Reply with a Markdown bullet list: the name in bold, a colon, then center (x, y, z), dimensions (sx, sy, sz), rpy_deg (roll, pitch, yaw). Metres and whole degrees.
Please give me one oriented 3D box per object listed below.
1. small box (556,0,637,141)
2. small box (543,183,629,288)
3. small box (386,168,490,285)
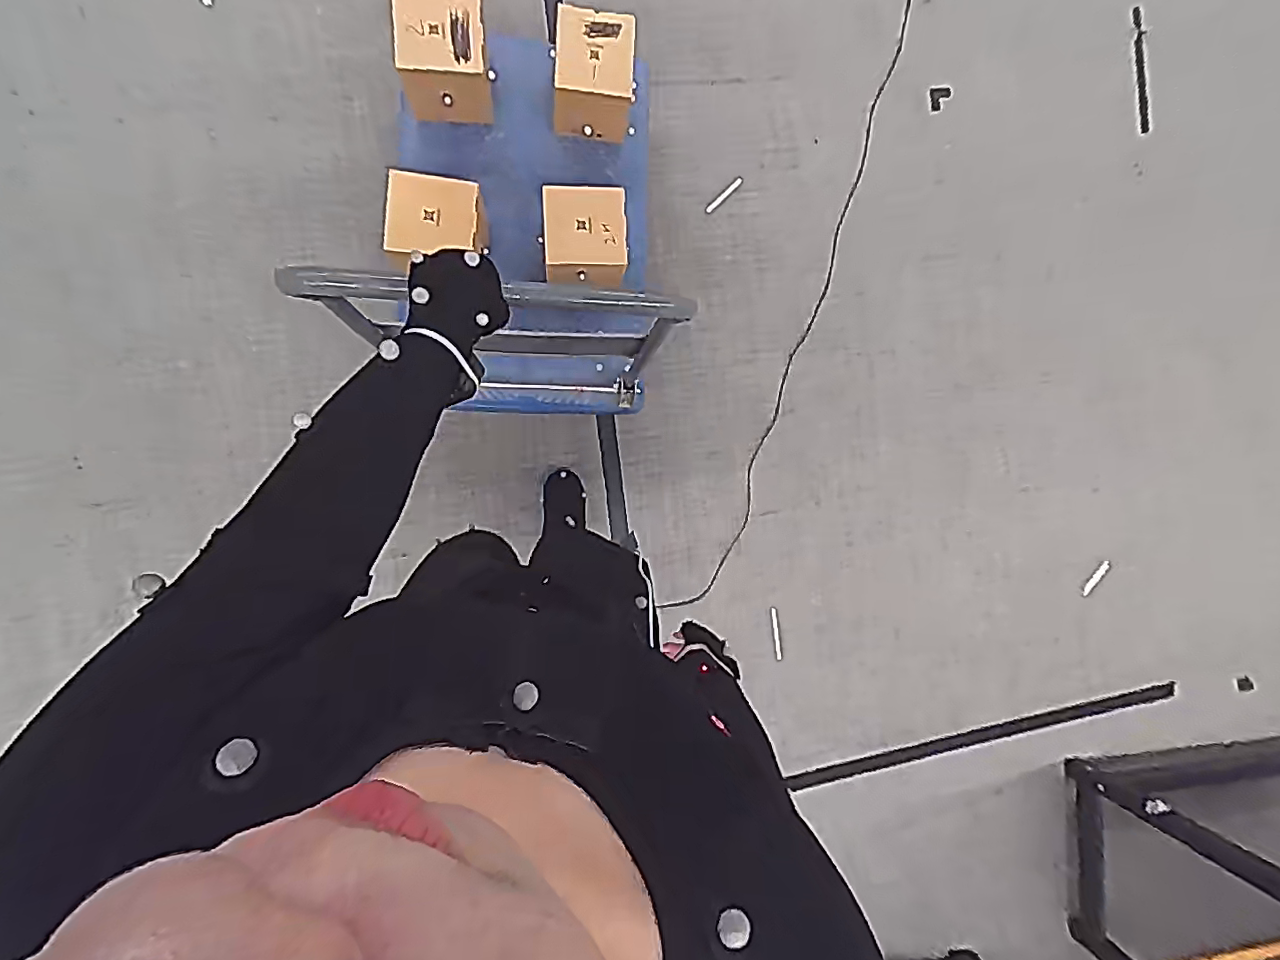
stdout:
- **small box**: center (-0.102, -0.906, 1.211), dimensions (0.168, 0.176, 0.179), rpy_deg (2, 92, -8)
- **small box**: center (-0.122, -0.539, 1.213), dimensions (0.179, 0.176, 0.168), rpy_deg (-3, 91, -8)
- **small box**: center (-0.428, -0.537, 1.169), dimensions (0.179, 0.176, 0.168), rpy_deg (4, 89, -10)
